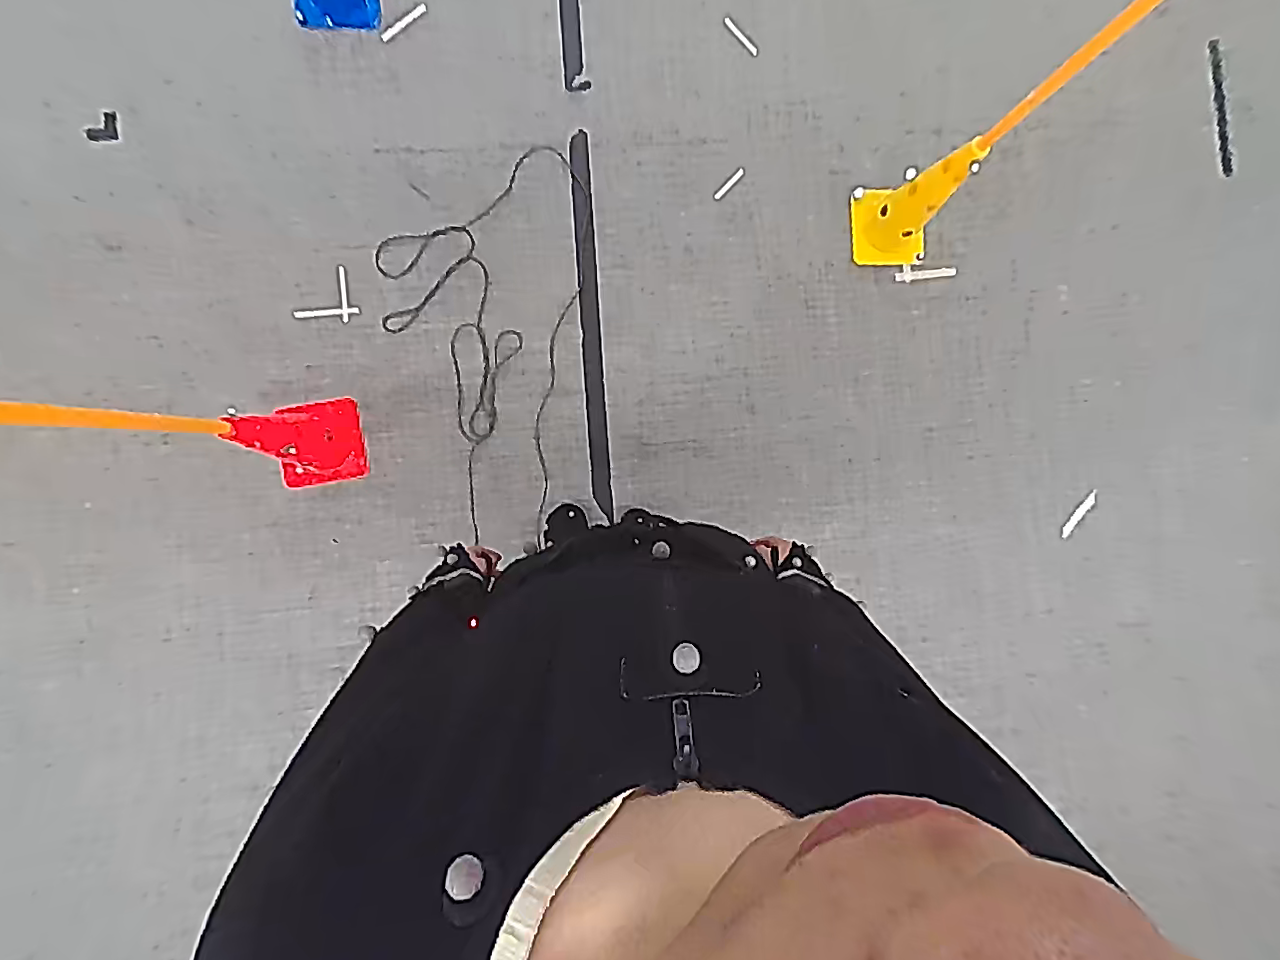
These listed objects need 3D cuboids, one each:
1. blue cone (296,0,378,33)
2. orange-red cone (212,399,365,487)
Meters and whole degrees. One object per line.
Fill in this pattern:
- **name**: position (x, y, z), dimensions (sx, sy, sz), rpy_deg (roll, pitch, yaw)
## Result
- **blue cone**: position (-0.732, -1.201, 1.166), dimensions (0.193, 0.380, 0.192), rpy_deg (-2, 90, -5)
- **orange-red cone**: position (-0.760, -0.091, 1.136), dimensions (0.199, 0.360, 0.198), rpy_deg (-10, 91, -6)
